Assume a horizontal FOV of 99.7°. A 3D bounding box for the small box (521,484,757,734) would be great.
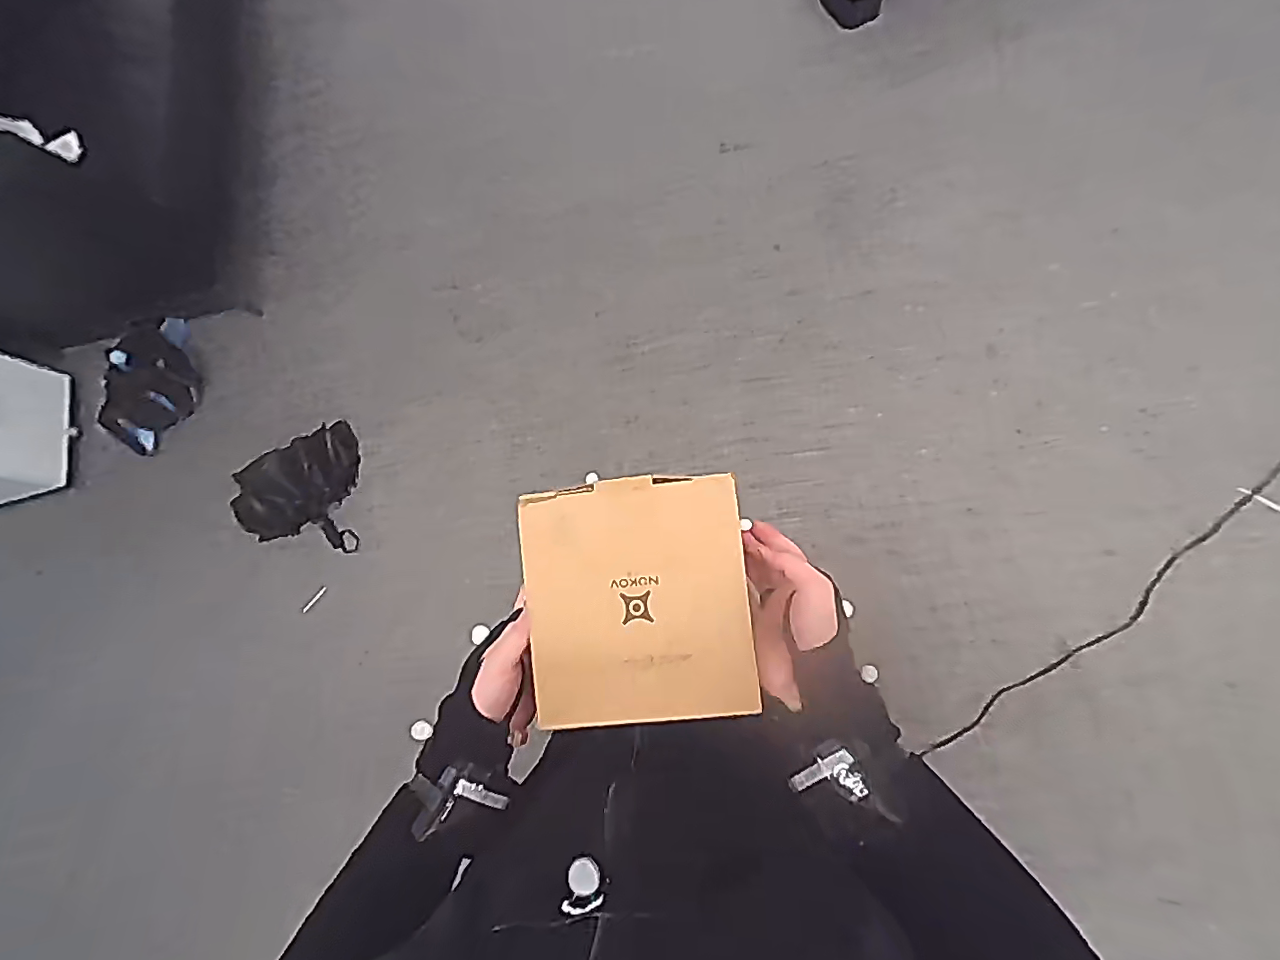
[{"bbox_3d":[0.004,0.098,0.478,0.168,0.176,0.179,-6,89,6],"label":"small box"}]
